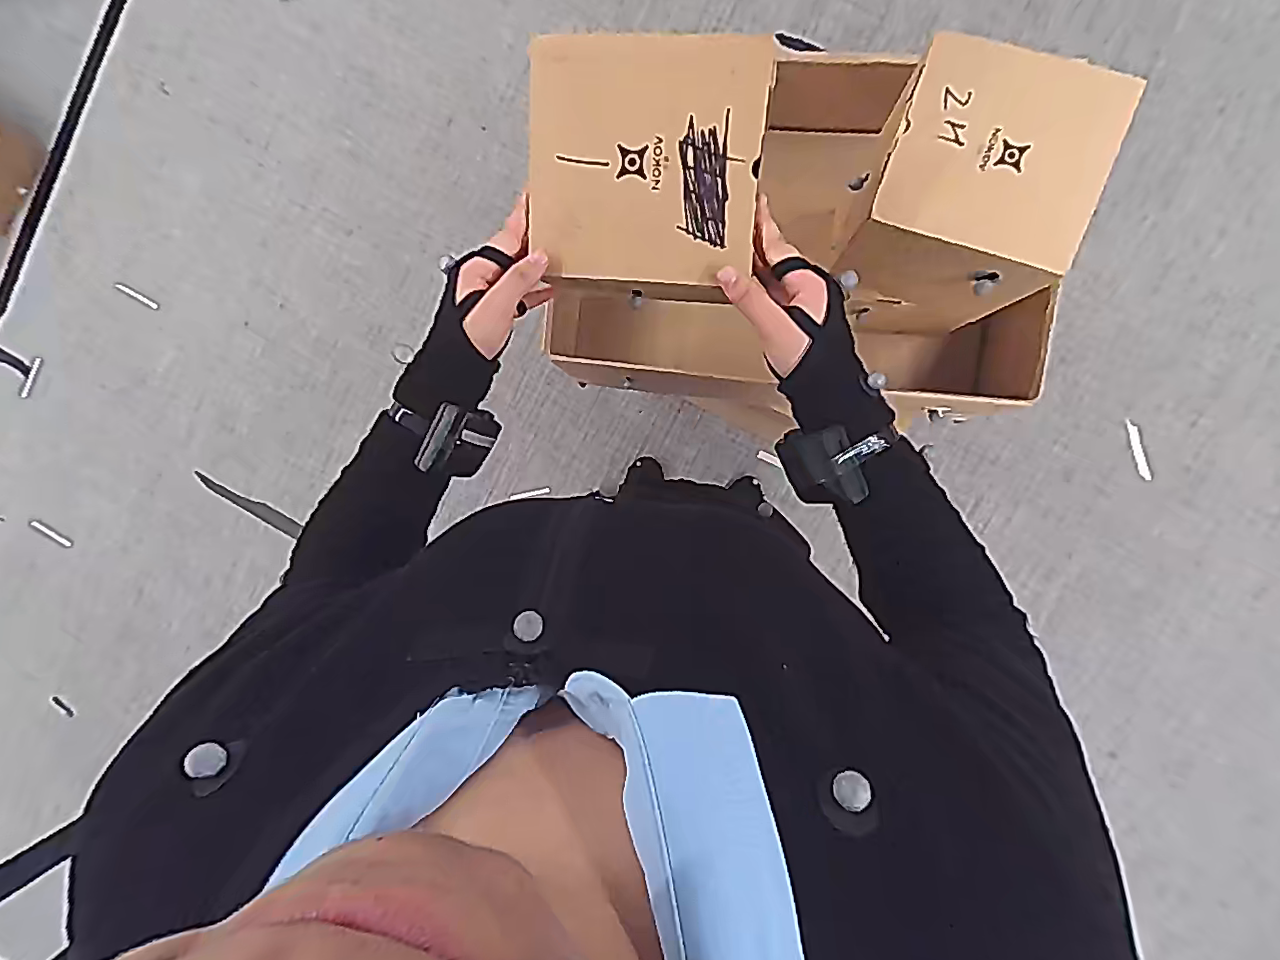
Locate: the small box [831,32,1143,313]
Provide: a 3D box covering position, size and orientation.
[{"bbox_3d":[0.317,-0.282,0.538,0.179,0.176,0.168,20,95,6],"label":"small box"}]

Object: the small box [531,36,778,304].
[{"bbox_3d":[0.015,-0.250,0.476,0.179,0.176,0.168,6,104,7],"label":"small box"}]
